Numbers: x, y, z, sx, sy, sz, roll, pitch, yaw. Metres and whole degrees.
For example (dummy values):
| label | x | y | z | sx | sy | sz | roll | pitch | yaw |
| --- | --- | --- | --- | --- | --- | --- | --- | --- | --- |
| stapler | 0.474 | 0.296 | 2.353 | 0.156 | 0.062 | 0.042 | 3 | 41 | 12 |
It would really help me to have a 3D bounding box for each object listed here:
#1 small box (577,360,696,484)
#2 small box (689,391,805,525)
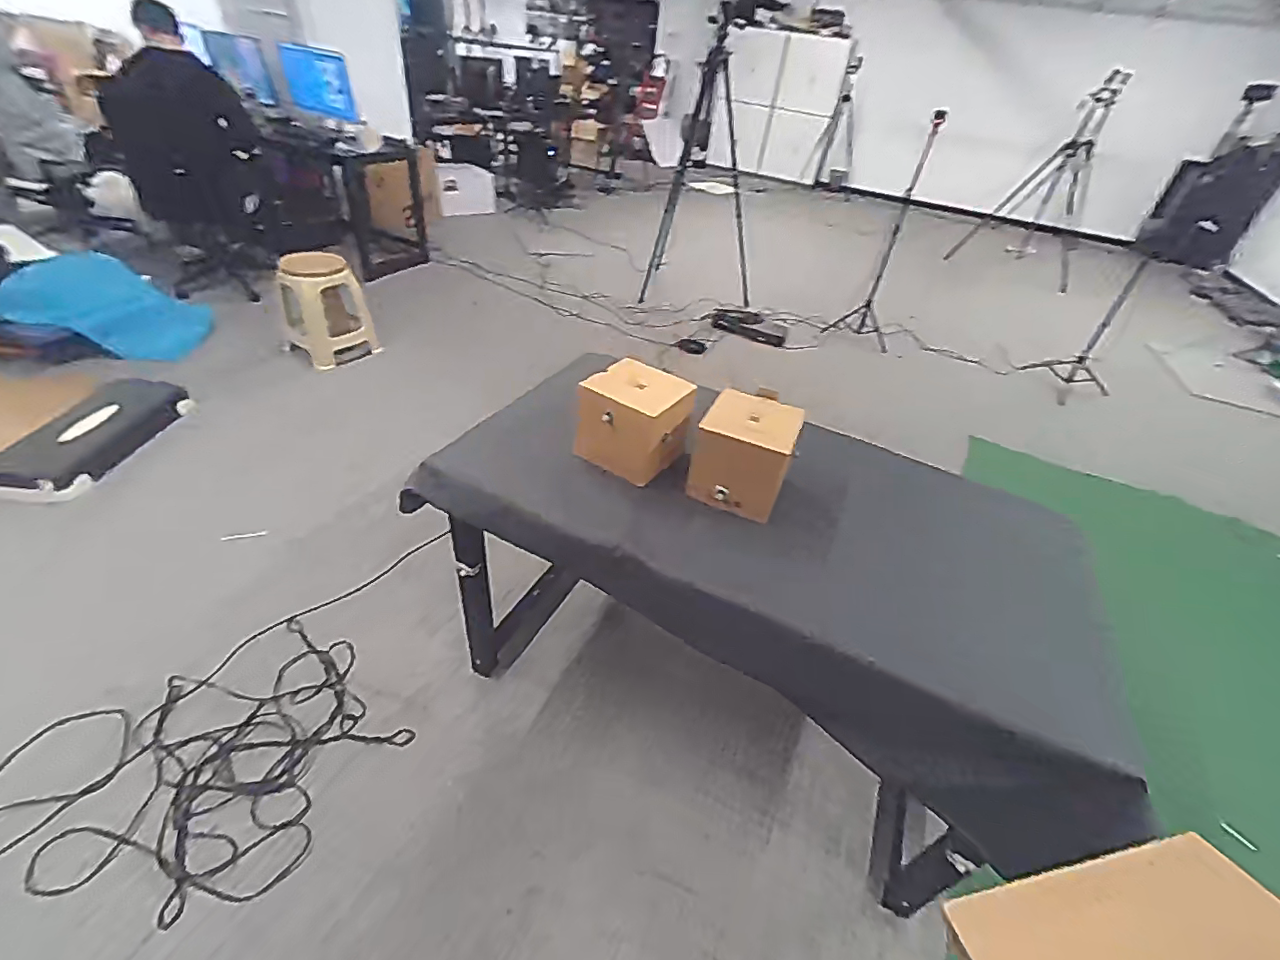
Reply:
| label | x | y | z | sx | sy | sz | roll | pitch | yaw |
| --- | --- | --- | --- | --- | --- | --- | --- | --- | --- |
| small box | -0.011 | -0.114 | 1.094 | 0.179 | 0.176 | 0.168 | 27 | 41 | 23 |
| small box | 0.203 | -0.044 | 1.047 | 0.168 | 0.176 | 0.179 | 19 | 39 | 15 |
